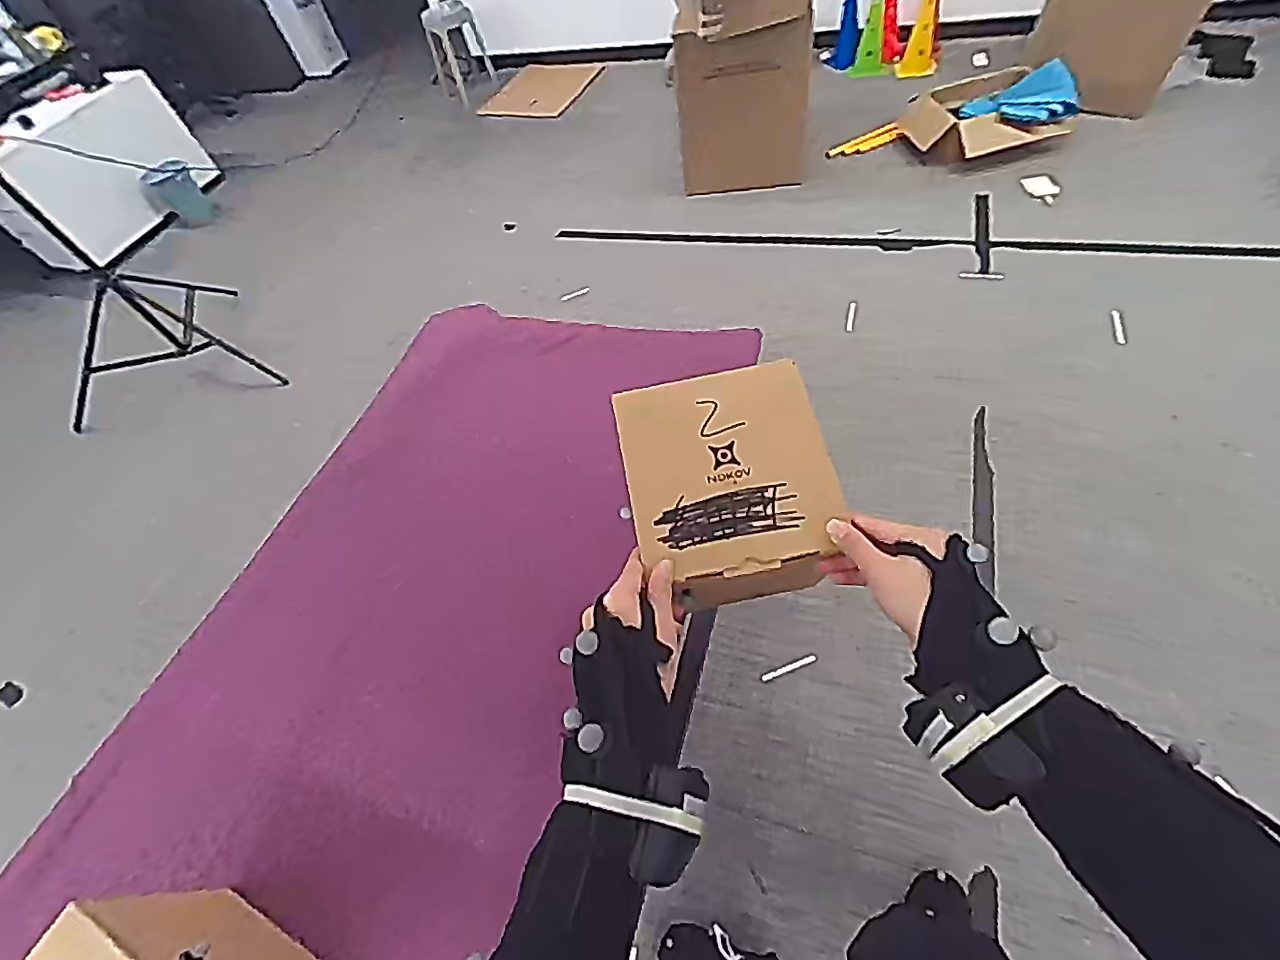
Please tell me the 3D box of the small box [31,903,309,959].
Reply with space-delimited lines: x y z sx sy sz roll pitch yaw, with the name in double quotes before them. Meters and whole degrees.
"small box" -0.392 0.468 0.427 0.179 0.176 0.168 16 59 20
